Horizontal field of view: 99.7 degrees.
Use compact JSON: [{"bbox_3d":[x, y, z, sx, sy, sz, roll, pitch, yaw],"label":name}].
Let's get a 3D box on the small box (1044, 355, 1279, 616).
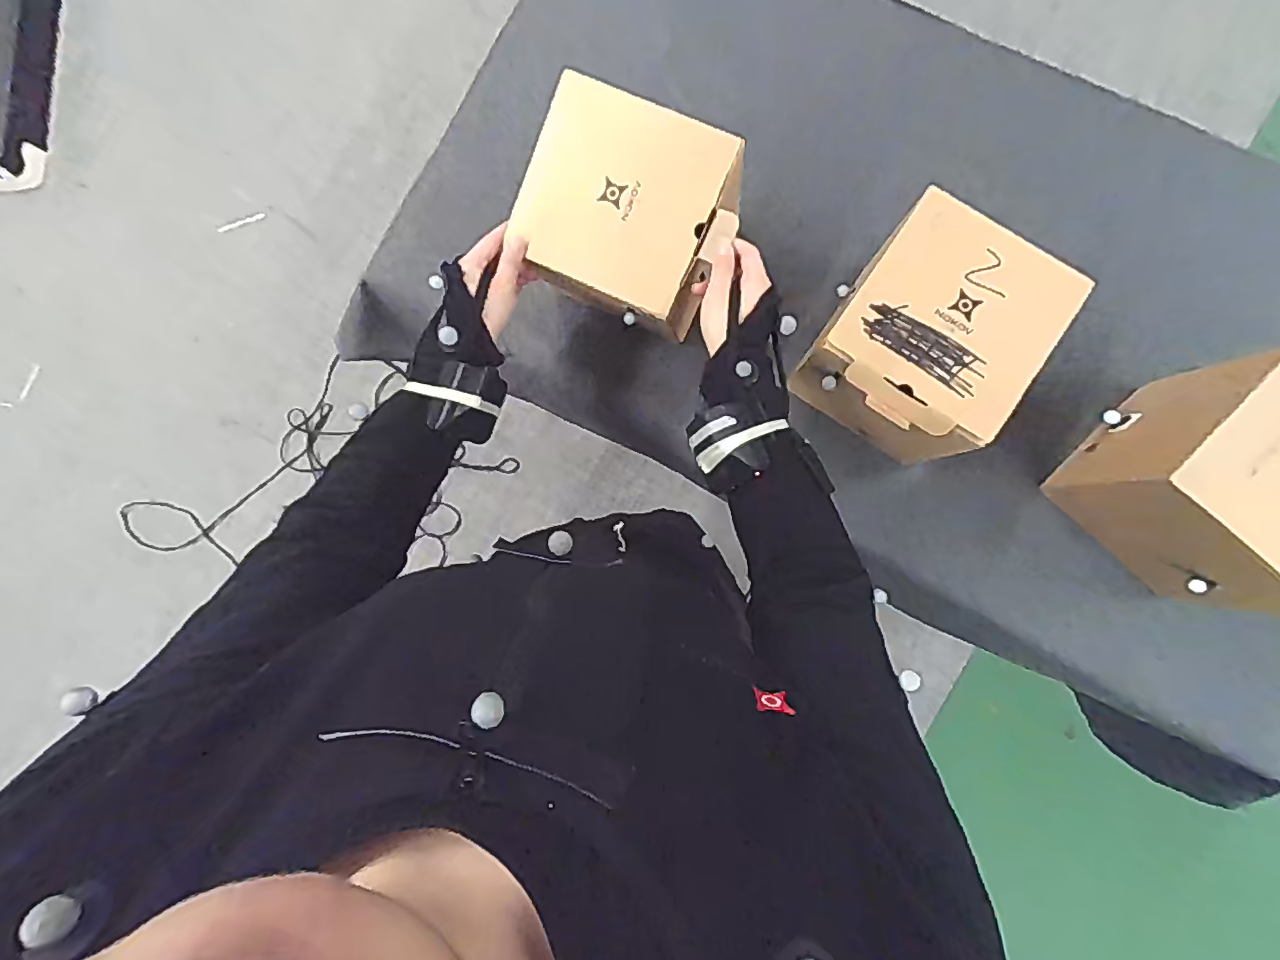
[{"bbox_3d":[0.566,0.006,0.531,0.179,0.176,0.168,44,90,6],"label":"small box"}]
